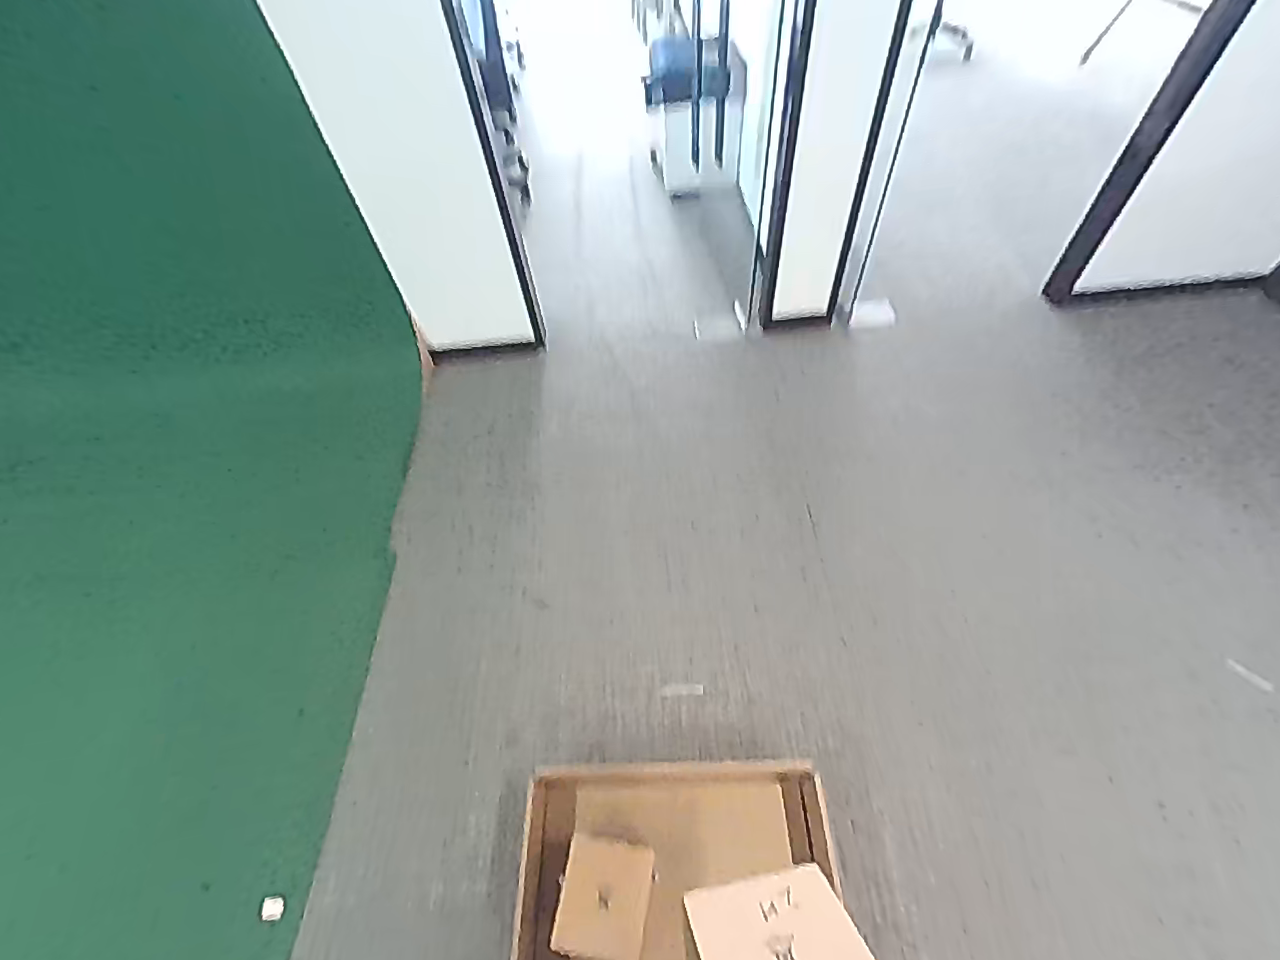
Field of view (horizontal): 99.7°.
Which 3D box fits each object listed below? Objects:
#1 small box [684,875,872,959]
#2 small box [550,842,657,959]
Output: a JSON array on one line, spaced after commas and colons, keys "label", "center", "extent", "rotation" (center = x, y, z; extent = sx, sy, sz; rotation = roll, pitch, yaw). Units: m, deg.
[{"label": "small box", "center": [0.145, 0.545, 0.528], "extent": [0.168, 0.176, 0.179], "rotation": [-4, 7, -9]}, {"label": "small box", "center": [-0.061, 0.839, 1.062], "extent": [0.168, 0.176, 0.179], "rotation": [6, 52, 9]}]
